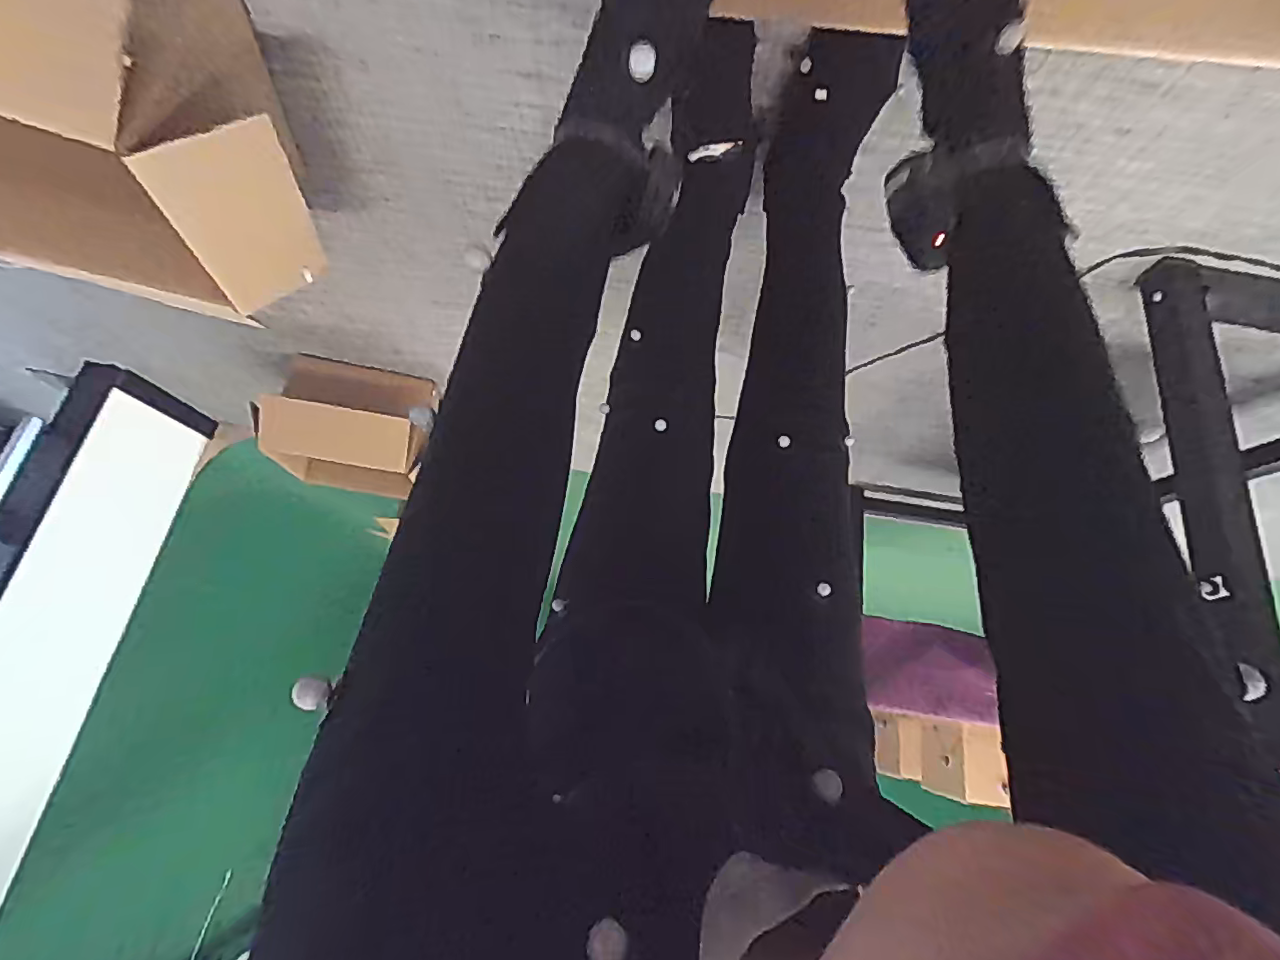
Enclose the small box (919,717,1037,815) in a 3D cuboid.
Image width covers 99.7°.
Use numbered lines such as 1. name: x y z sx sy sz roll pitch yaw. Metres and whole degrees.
1. small box: 0.785 0.663 1.273 0.179 0.176 0.168 11 160 -4
